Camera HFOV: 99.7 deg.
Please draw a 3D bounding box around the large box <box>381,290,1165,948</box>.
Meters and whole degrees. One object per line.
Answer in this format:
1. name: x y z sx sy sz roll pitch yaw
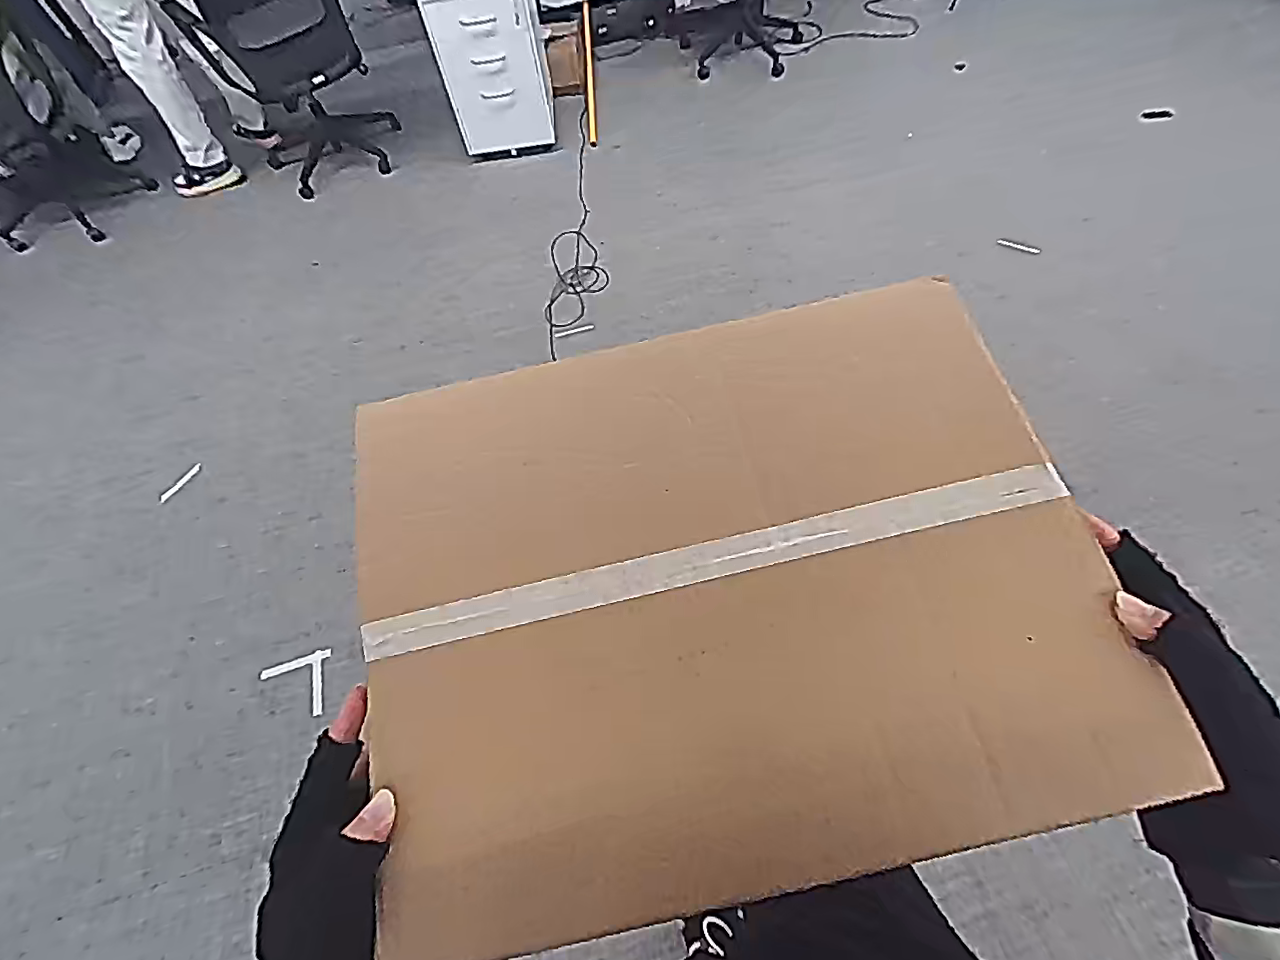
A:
1. large box: 0.054 0.103 0.464 0.408 0.320 0.320 -13 69 -1
